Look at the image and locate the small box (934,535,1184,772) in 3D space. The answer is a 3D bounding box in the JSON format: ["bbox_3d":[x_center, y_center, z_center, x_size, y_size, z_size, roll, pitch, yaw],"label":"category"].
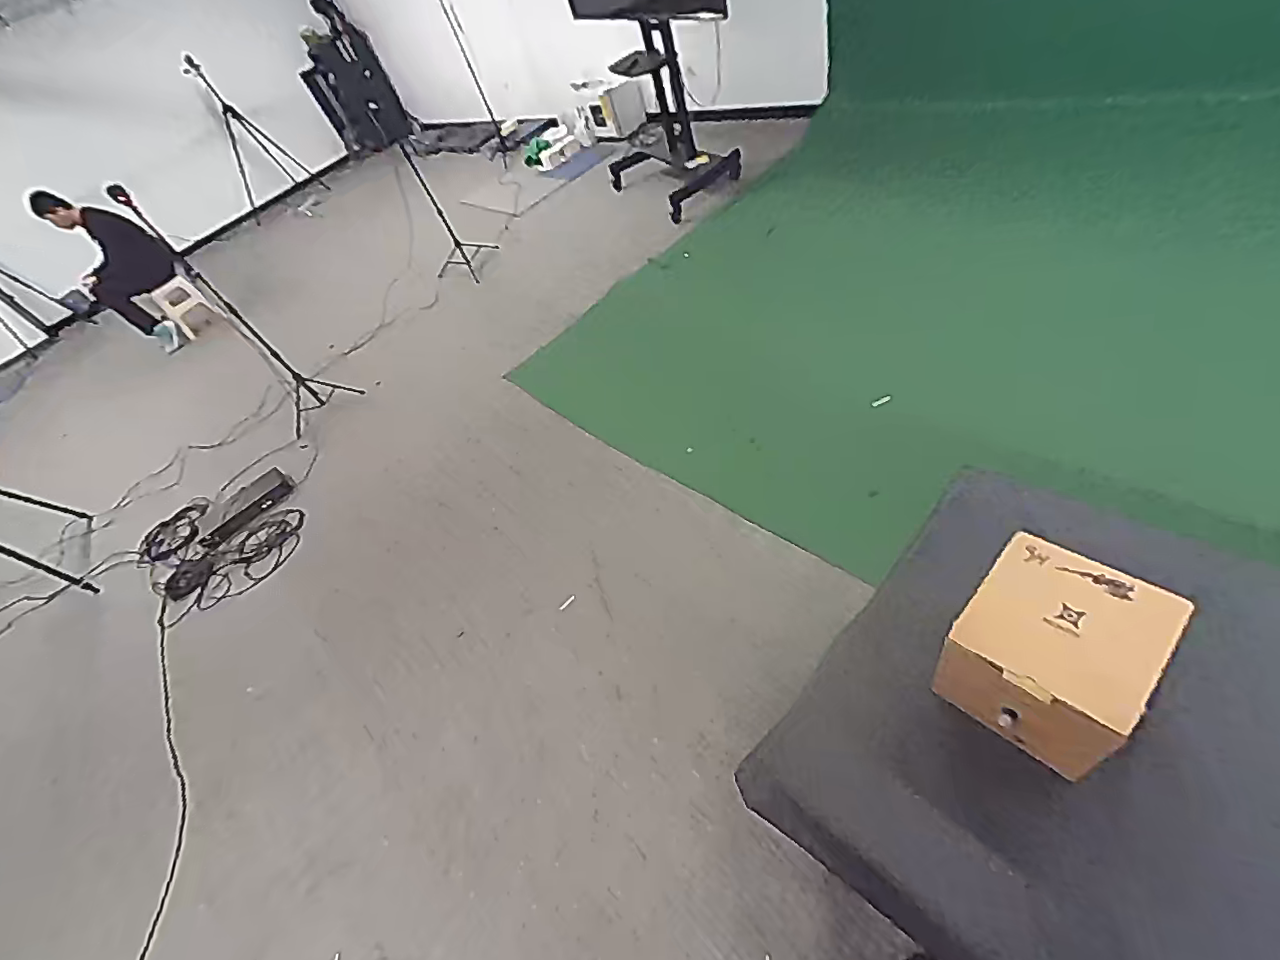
[{"bbox_3d":[0.470,0.205,0.636,0.179,0.176,0.168,-44,50,-17],"label":"small box"}]
